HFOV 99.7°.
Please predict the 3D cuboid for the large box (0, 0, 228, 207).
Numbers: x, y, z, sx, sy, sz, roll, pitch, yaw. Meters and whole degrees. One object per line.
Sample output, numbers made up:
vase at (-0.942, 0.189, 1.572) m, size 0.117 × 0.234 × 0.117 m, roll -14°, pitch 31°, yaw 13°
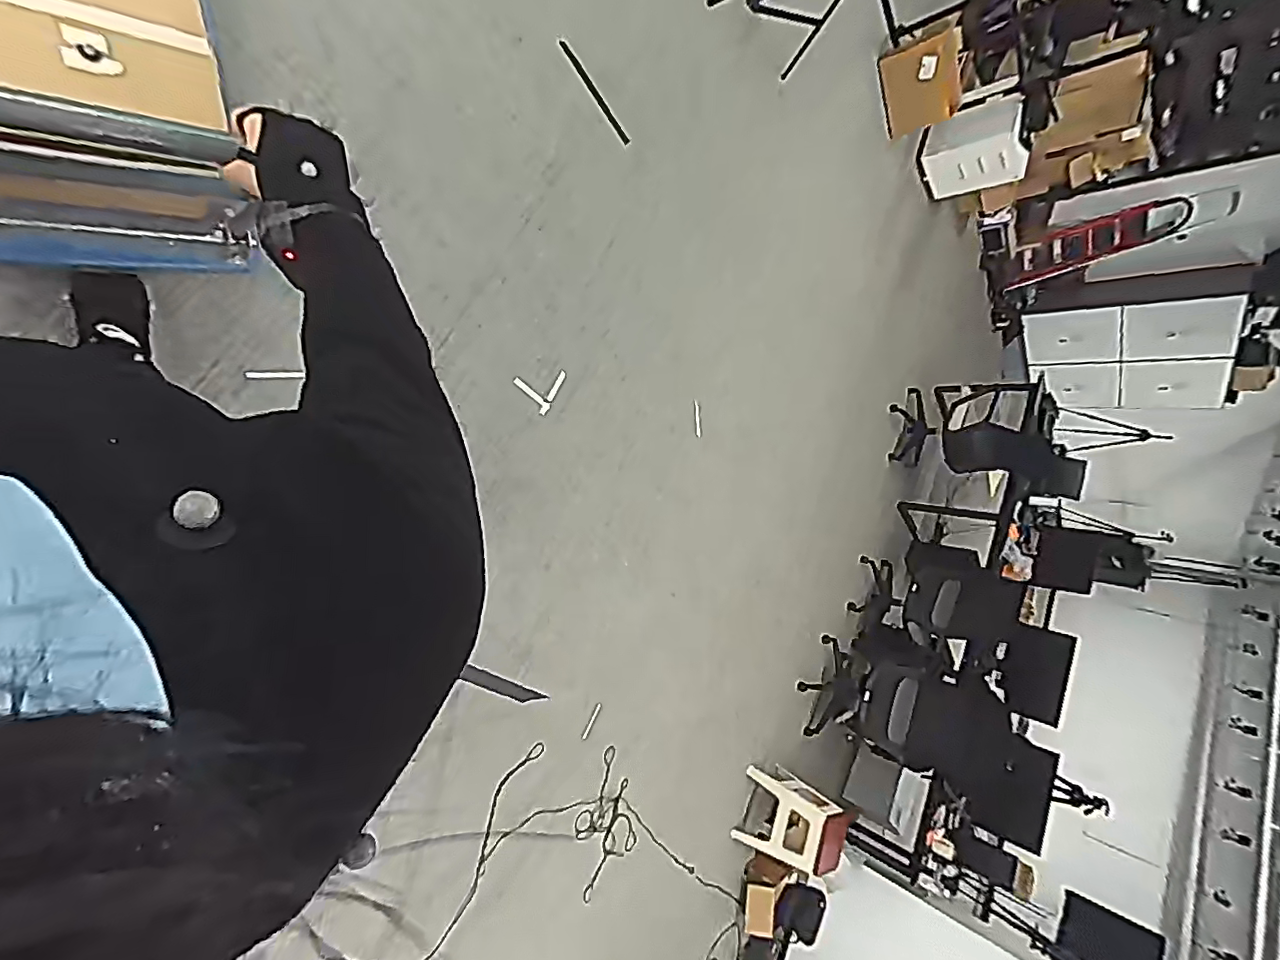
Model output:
large box at (-0.874, -0.598, 0.739) m, size 0.408 × 0.320 × 0.320 m, roll -17°, pitch 108°, yaw -45°
